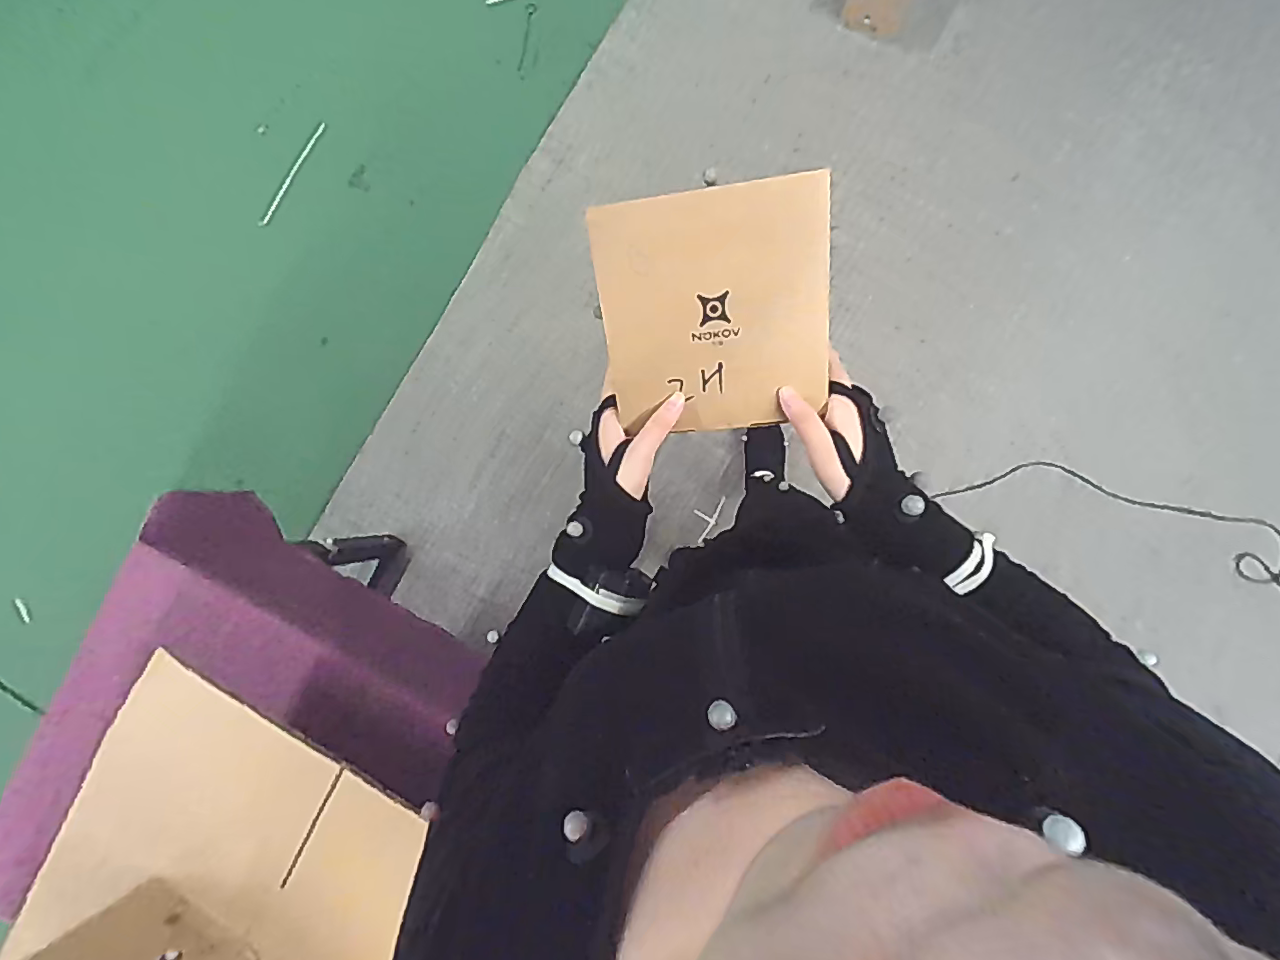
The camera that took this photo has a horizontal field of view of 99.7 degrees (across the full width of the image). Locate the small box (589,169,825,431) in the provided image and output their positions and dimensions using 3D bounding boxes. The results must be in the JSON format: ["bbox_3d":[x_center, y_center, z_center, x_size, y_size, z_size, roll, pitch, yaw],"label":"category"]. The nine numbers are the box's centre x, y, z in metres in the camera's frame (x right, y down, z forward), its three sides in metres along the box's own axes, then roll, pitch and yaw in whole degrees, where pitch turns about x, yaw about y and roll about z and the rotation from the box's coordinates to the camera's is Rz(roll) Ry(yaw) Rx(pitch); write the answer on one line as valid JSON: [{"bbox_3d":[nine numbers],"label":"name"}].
[{"bbox_3d":[0.062,-0.158,0.476,0.168,0.176,0.179,-4,117,10],"label":"small box"}]
